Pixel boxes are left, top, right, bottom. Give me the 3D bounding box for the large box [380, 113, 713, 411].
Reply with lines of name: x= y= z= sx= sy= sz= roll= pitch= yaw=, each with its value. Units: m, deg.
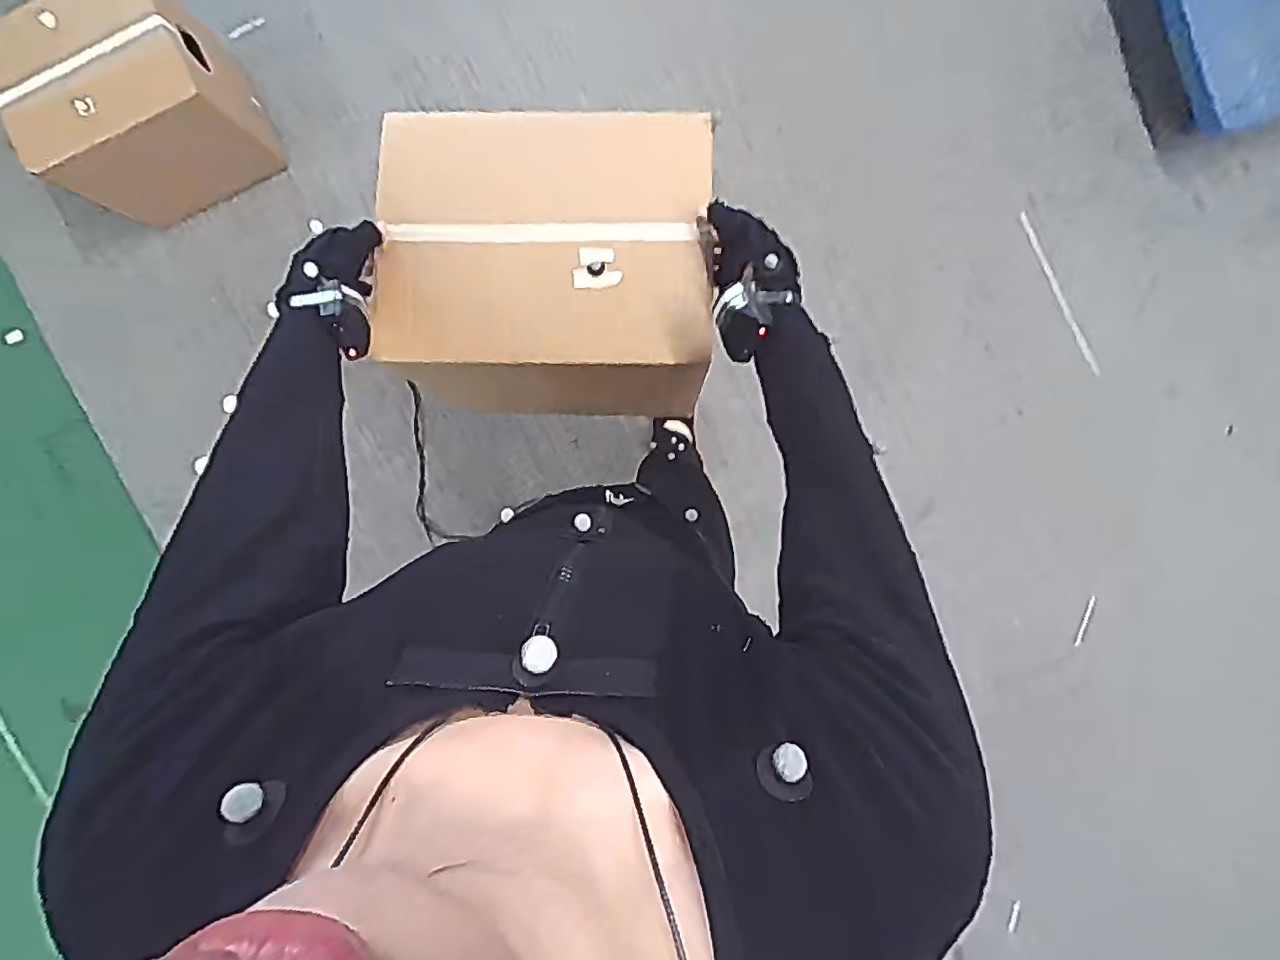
large box: x=-0.115 y=-0.288 z=0.803 sx=0.408 sy=0.320 sz=0.320 roll=0 pitch=85 yaw=-1
